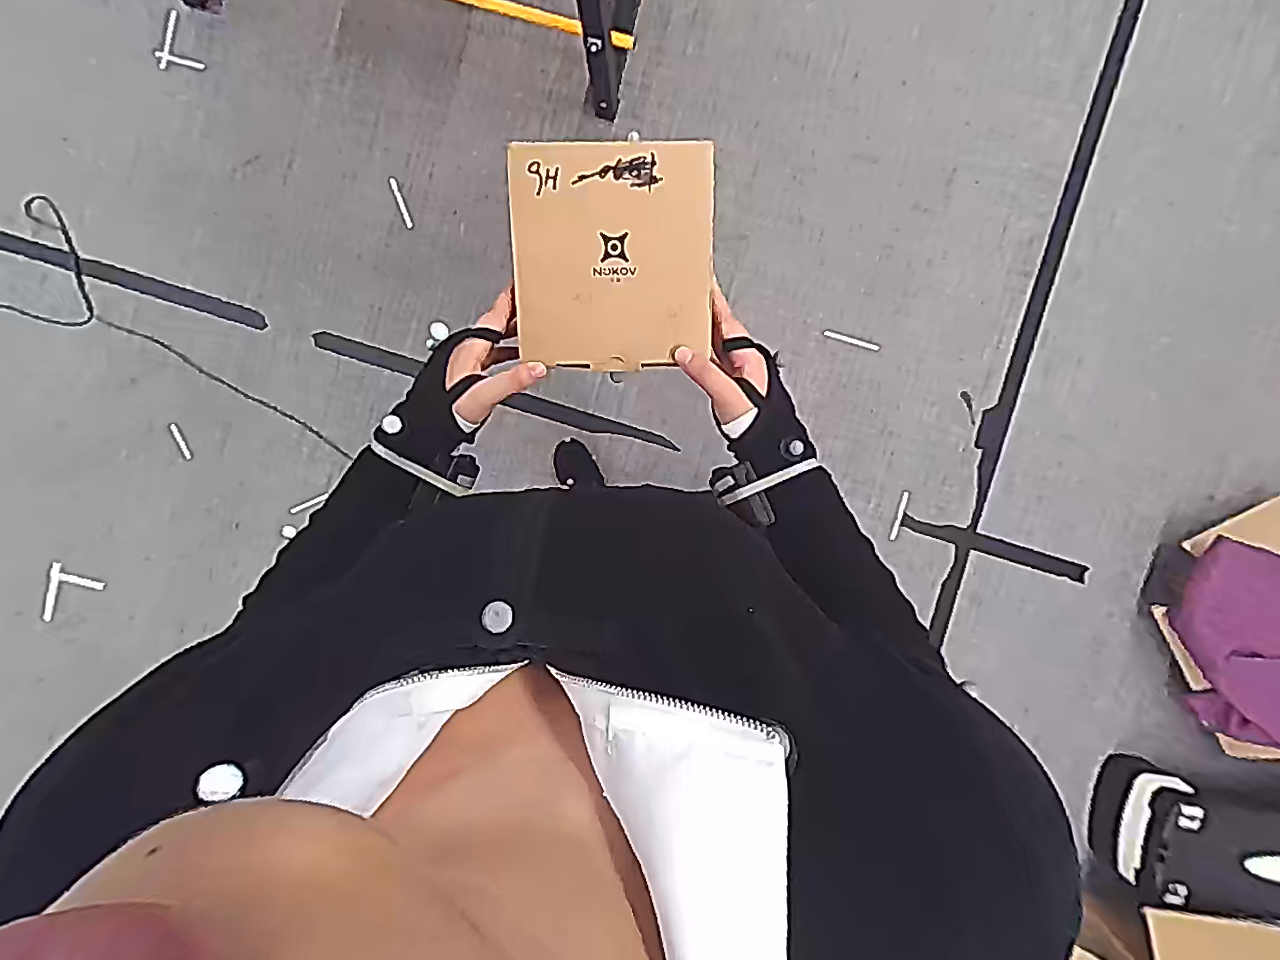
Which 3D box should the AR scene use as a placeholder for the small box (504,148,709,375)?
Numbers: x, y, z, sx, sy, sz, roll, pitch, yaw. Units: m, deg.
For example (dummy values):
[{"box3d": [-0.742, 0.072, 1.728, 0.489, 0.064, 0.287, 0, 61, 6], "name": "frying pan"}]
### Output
[{"box3d": [-0.027, -0.197, 0.524, 0.168, 0.176, 0.179, -1, 104, -1], "name": "small box"}]
